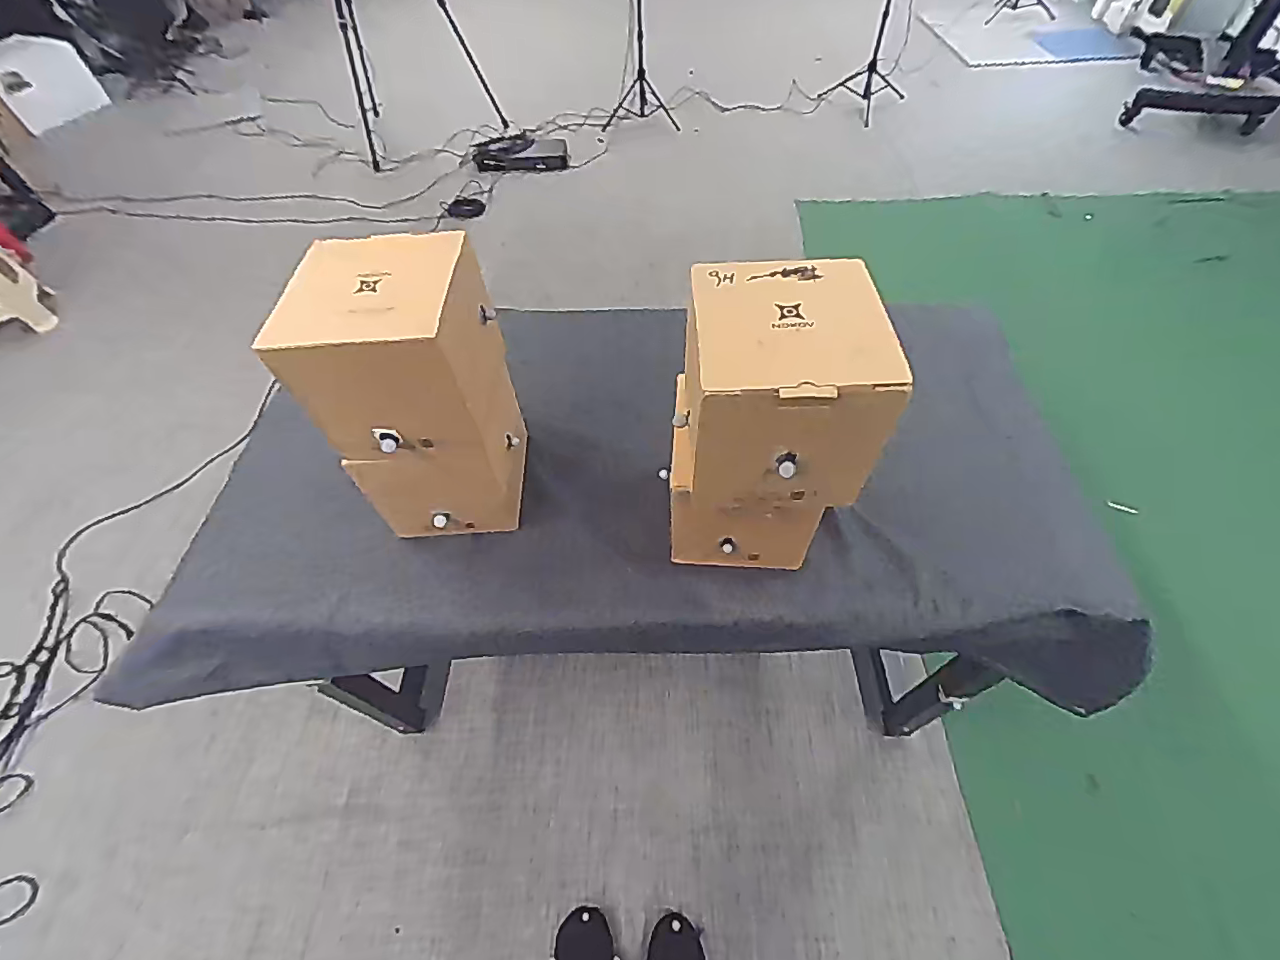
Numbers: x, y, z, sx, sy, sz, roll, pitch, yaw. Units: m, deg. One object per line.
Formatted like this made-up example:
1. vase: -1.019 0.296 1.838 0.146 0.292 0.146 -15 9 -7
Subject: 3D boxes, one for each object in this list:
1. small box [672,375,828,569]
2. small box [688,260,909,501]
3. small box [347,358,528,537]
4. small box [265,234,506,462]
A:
1. small box: 0.127 -0.009 0.679 0.168 0.176 0.179 2 54 4
2. small box: 0.134 -0.091 0.535 0.168 0.176 0.179 -1 54 2
3. small box: -0.250 -0.043 0.719 0.168 0.176 0.179 -4 54 0
4. small box: -0.251 -0.140 0.589 0.168 0.176 0.179 -4 54 1
